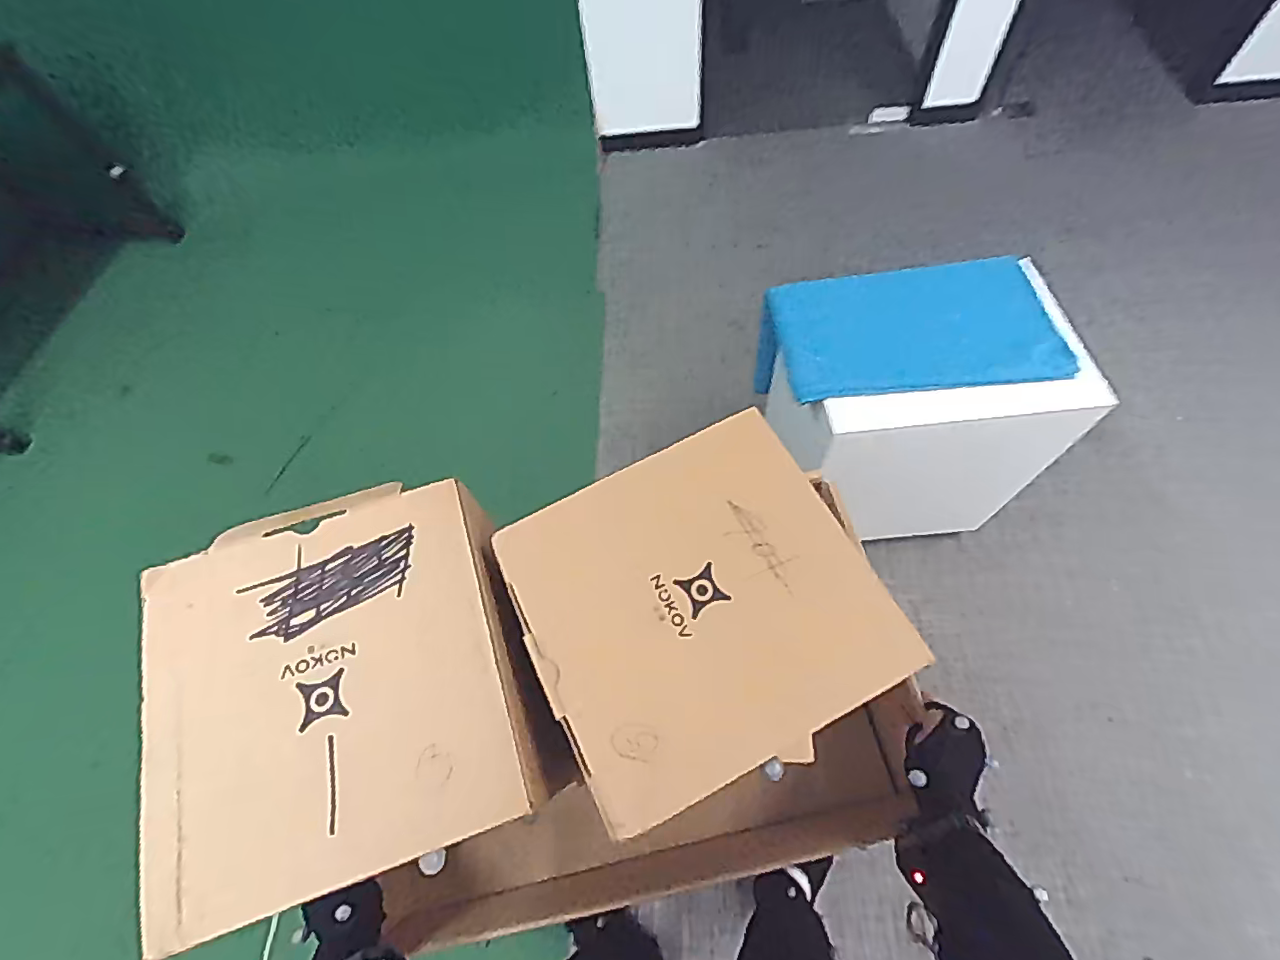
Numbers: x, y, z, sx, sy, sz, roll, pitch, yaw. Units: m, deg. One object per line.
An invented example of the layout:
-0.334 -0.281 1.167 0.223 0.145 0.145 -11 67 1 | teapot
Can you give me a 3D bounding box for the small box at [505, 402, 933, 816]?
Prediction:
0.040 0.086 0.357 0.179 0.176 0.168 -25 66 -8 | small box
